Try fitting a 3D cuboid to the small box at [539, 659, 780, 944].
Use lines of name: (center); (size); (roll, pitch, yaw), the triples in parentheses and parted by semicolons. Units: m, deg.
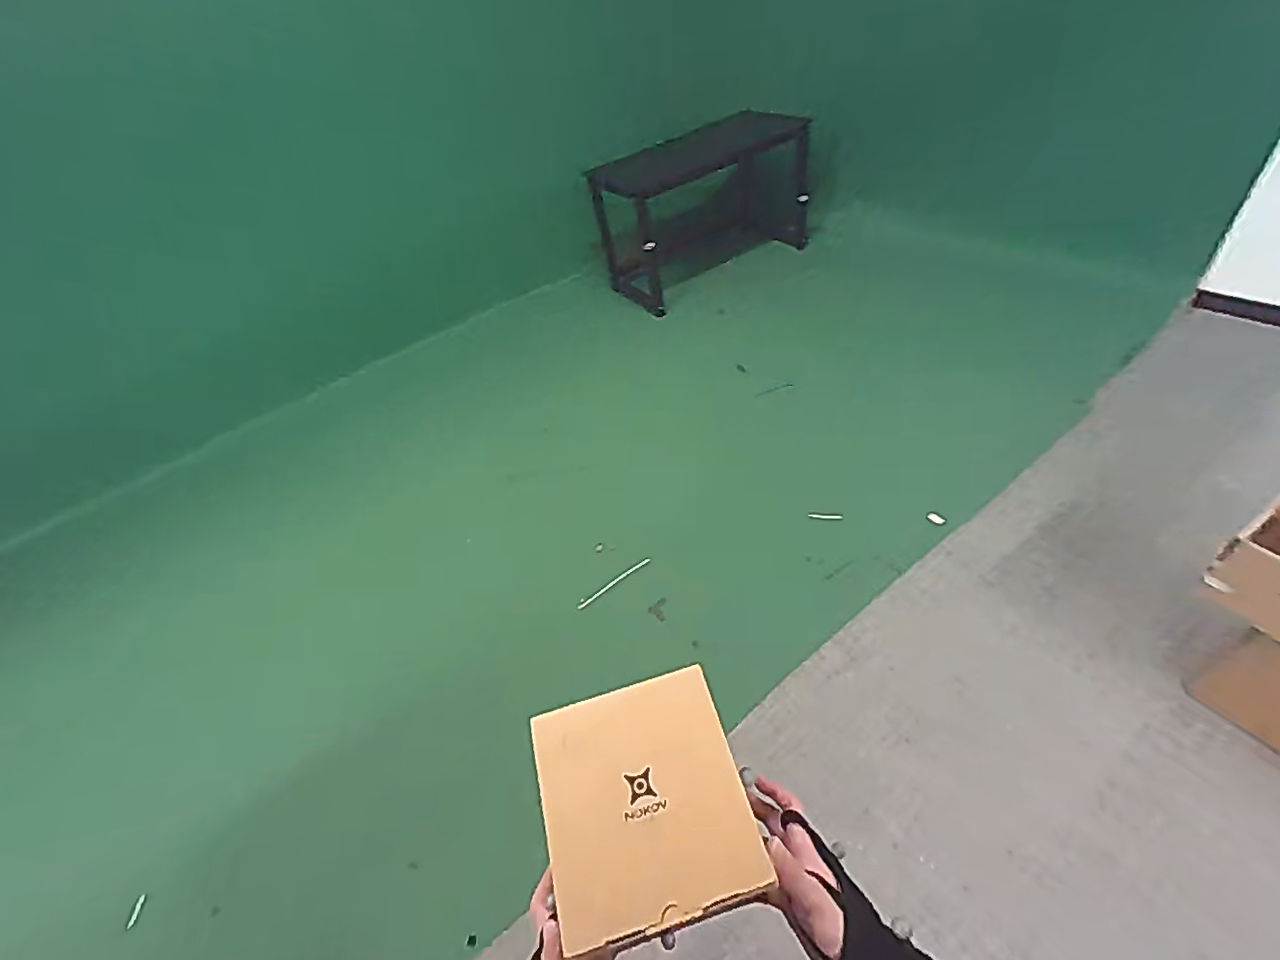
small box: (0.012, 0.302, 0.511); (0.168, 0.176, 0.179); (-16, 52, -6)
